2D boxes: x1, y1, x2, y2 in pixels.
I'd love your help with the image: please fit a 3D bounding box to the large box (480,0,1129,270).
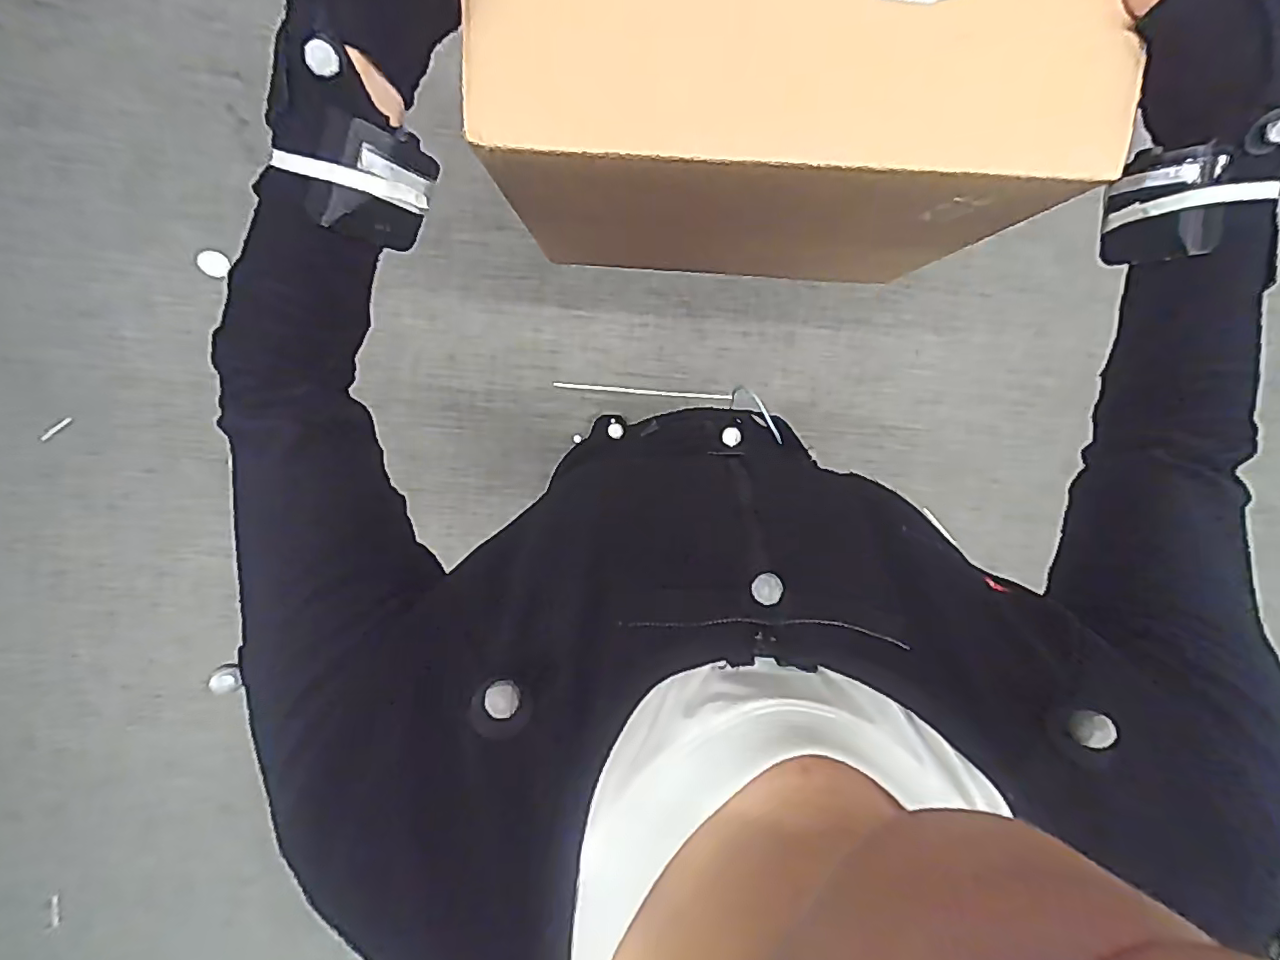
[{"bbox_3d":[0.100,-0.379,0.467,0.408,0.320,0.320,3,100,0],"label":"large box"}]
